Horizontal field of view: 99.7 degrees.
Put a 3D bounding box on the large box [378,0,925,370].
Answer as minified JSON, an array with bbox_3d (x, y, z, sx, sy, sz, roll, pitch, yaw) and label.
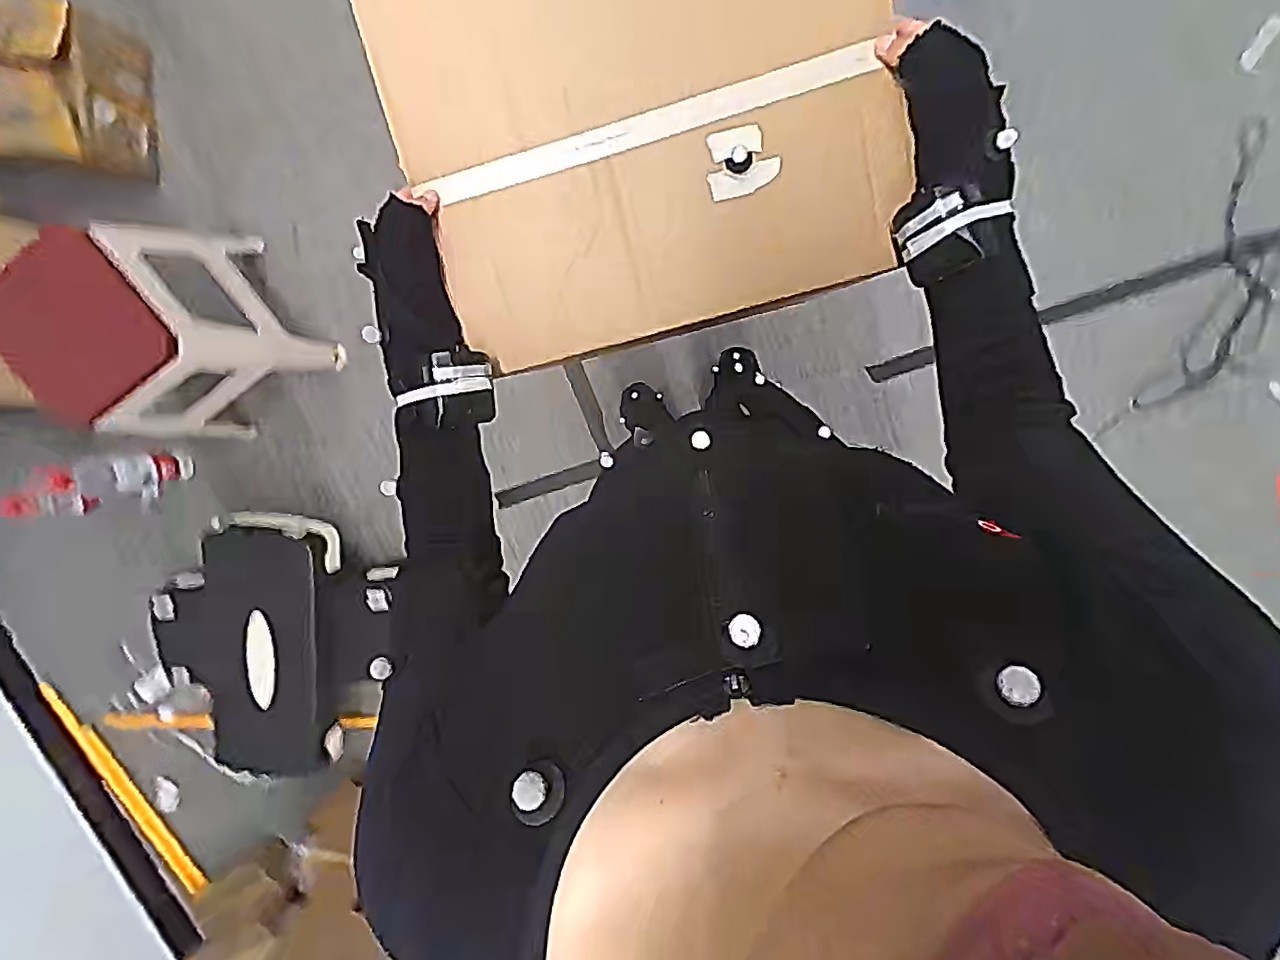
[{"bbox_3d":[0.019,-0.321,0.590,0.408,0.320,0.320,-13,103,5],"label":"large box"}]
